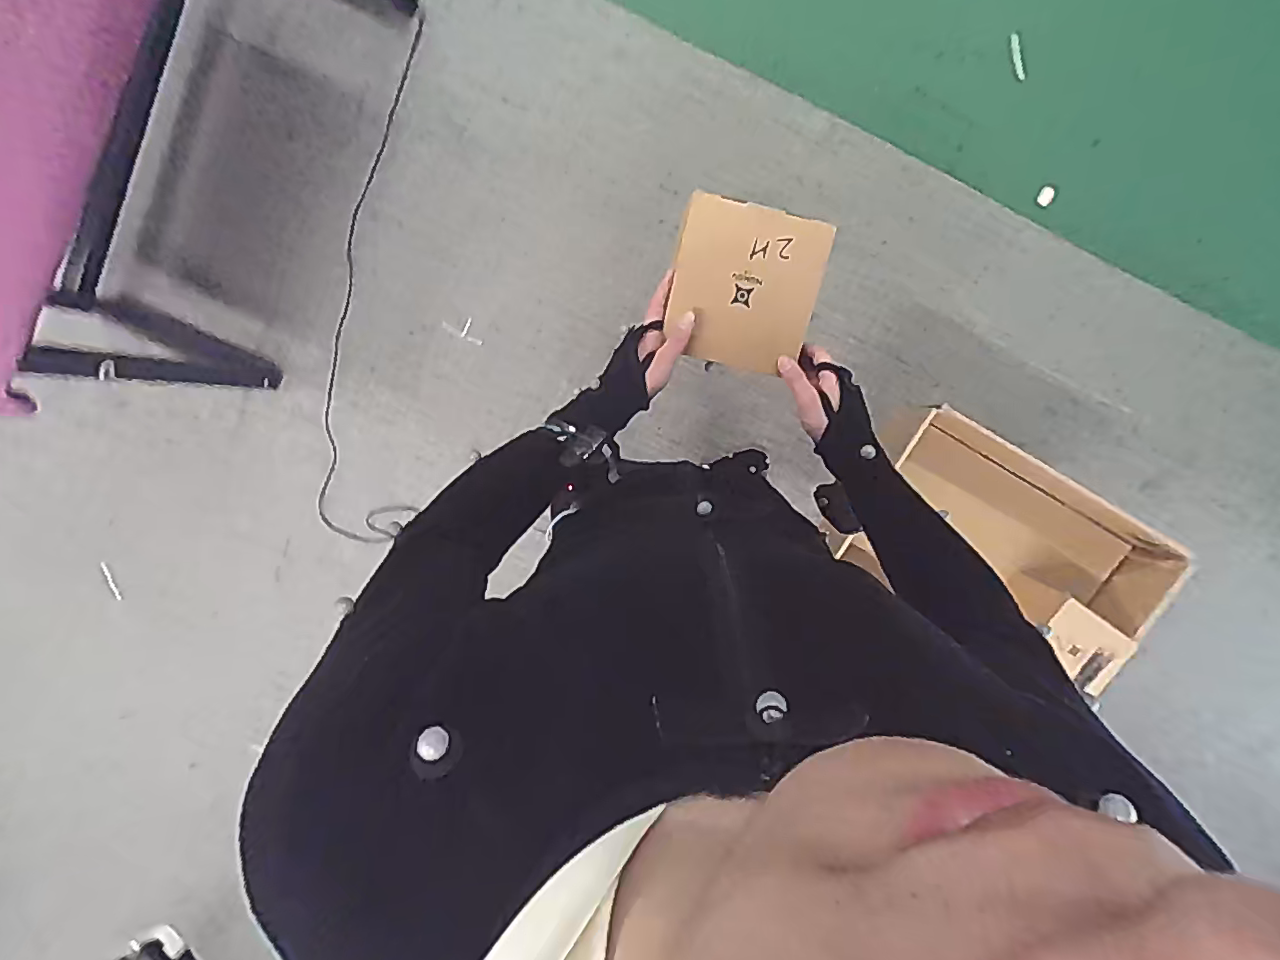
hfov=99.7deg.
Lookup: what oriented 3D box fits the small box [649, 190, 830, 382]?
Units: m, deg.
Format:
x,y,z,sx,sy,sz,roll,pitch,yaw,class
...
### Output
x,y,z,sx,sy,sz,roll,pitch,yaw,class
0.110,-0.234,0.681,0.168,0.176,0.179,12,105,-4,small box
